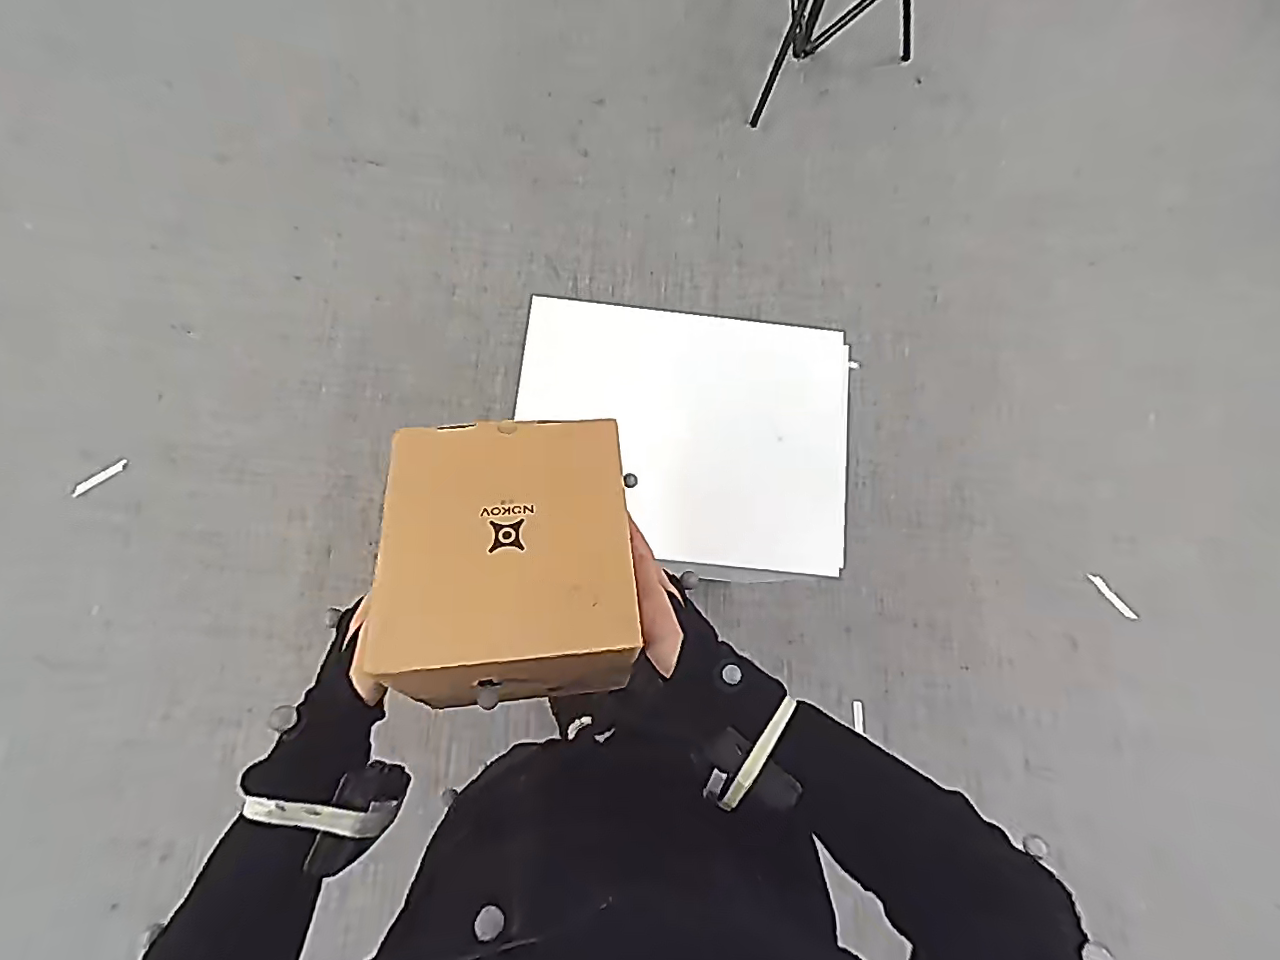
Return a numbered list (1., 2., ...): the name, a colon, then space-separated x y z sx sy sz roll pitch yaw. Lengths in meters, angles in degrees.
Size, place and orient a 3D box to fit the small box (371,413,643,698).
1. small box: -0.091 0.069 0.432 0.168 0.176 0.179 -4 60 -8
